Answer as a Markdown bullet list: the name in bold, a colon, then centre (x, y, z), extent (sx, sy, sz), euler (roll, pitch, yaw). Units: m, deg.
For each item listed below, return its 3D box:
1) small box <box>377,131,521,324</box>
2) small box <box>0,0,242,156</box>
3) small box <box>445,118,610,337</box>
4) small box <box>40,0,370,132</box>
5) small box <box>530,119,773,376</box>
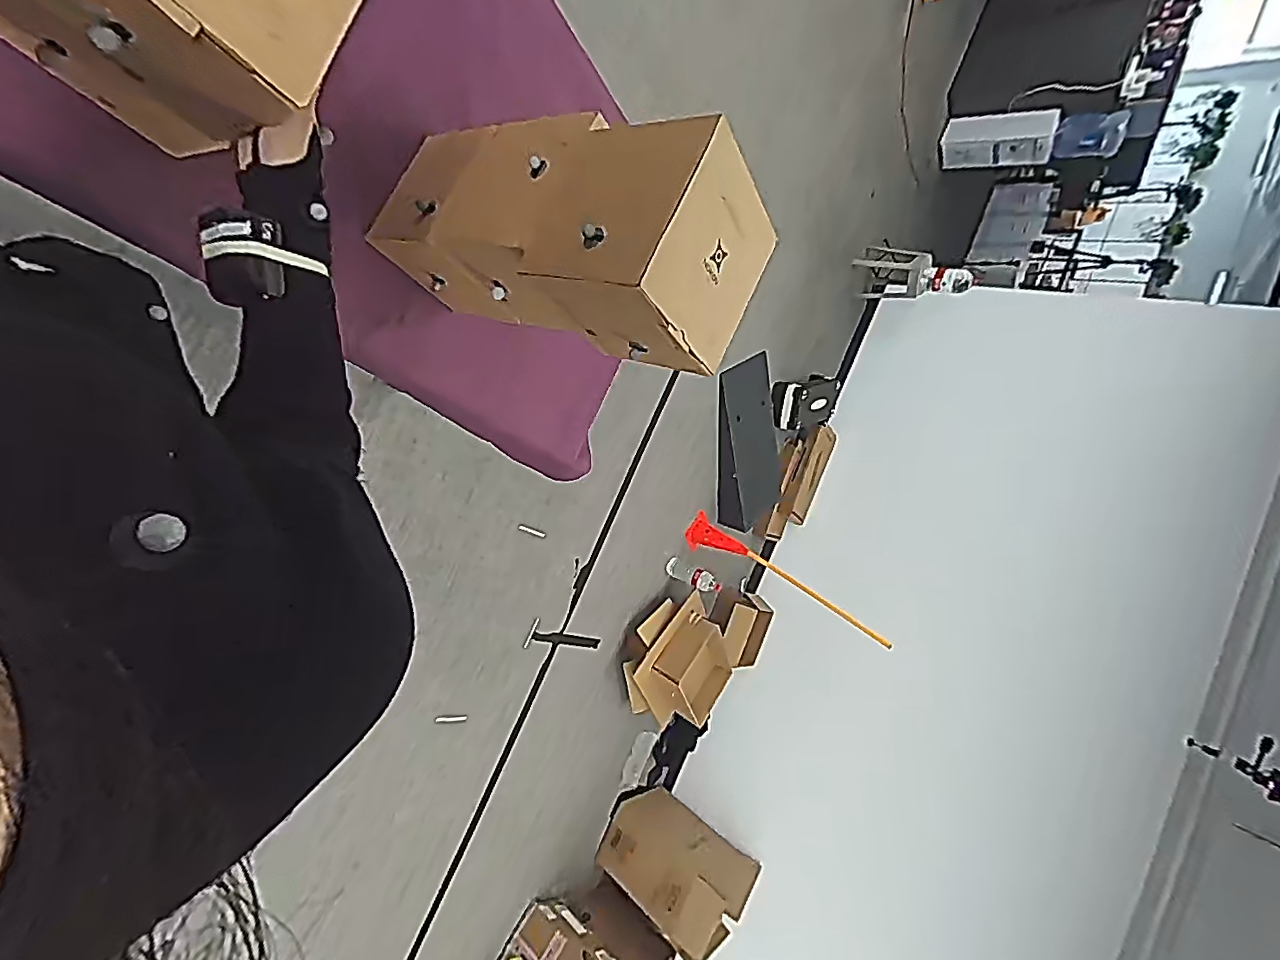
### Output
- **small box**: centre (-0.235, -0.346, 0.759), extent (0.168, 0.176, 0.179), euler (38, 75, -54)
- **small box**: centre (-0.428, -0.415, 0.469), extent (0.168, 0.176, 0.179), euler (34, 77, -54)
- **small box**: centre (-0.106, -0.302, 0.667), extent (0.168, 0.176, 0.179), euler (37, 77, -53)
- **small box**: centre (-0.299, -0.369, 0.359), extent (0.168, 0.176, 0.179), euler (32, 79, -55)
- **small box**: centre (0.011, -0.236, 0.573), extent (0.168, 0.176, 0.179), euler (32, 80, -55)
